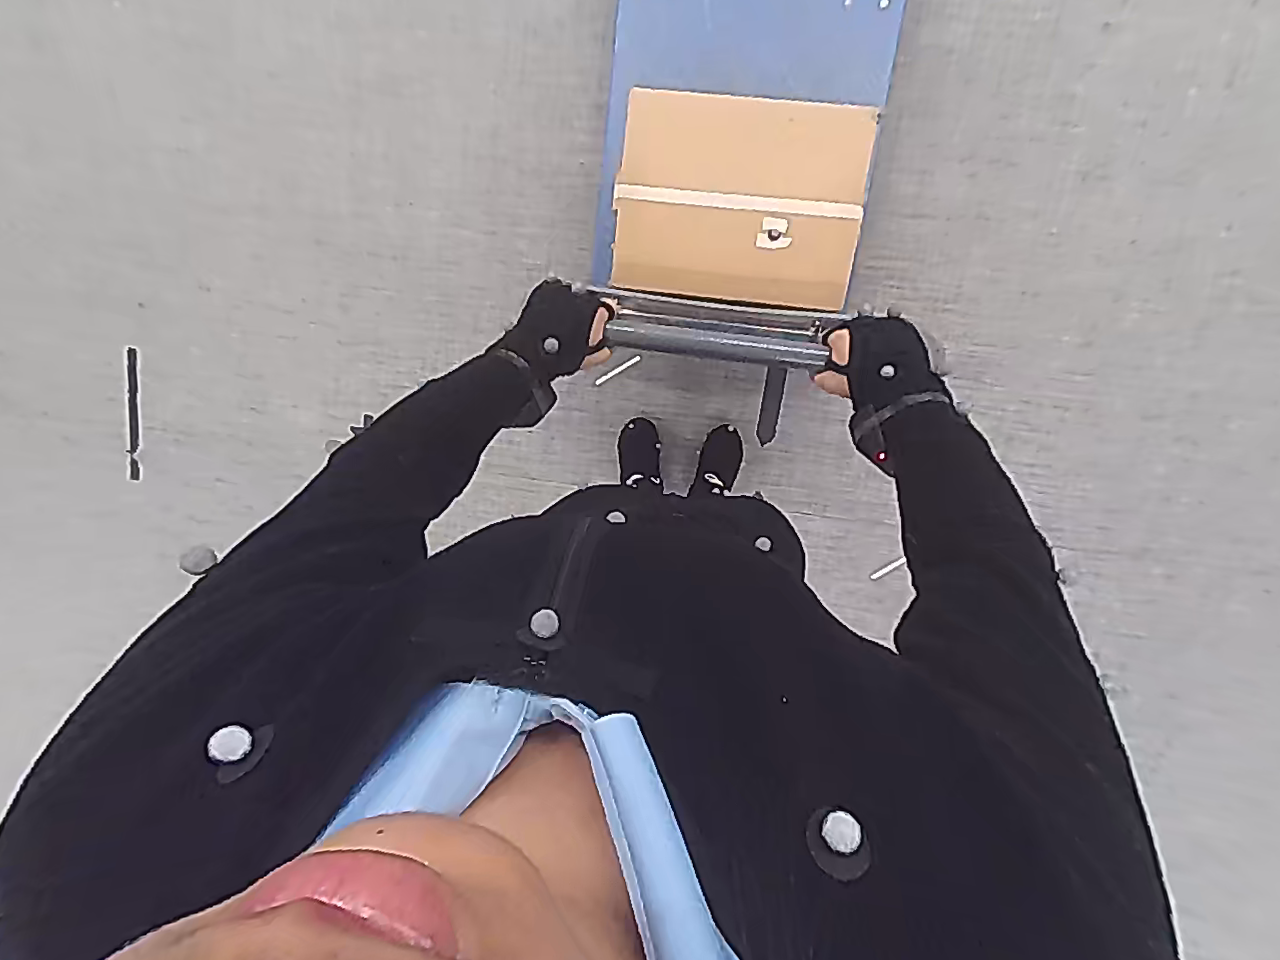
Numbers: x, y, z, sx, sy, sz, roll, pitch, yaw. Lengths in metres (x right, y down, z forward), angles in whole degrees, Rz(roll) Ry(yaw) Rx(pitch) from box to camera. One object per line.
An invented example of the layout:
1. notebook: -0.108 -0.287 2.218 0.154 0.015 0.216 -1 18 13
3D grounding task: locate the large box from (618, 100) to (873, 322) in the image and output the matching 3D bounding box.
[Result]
1. large box: 0.179 -0.495 1.063 0.408 0.320 0.320 7 104 4
